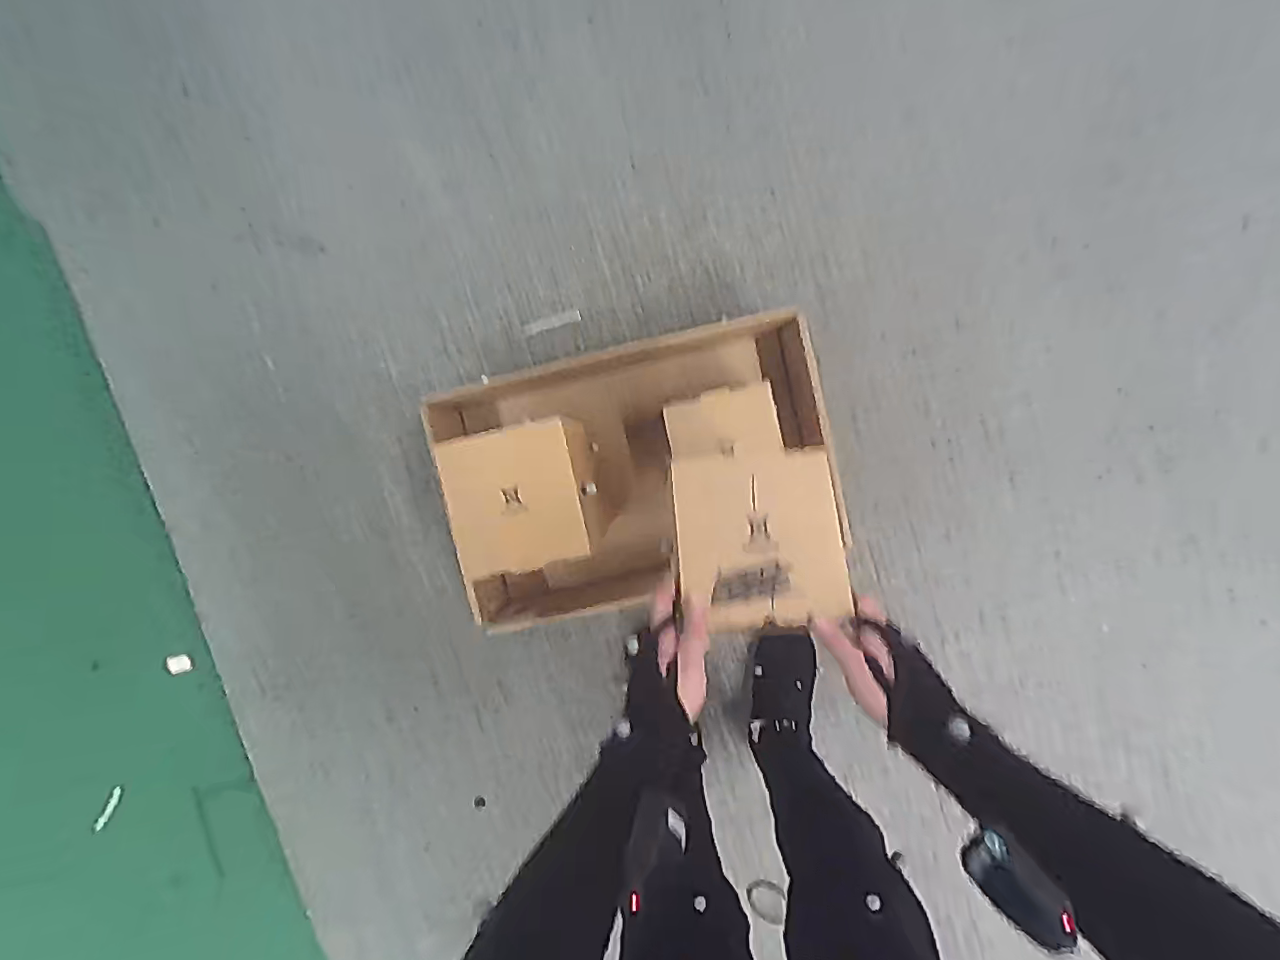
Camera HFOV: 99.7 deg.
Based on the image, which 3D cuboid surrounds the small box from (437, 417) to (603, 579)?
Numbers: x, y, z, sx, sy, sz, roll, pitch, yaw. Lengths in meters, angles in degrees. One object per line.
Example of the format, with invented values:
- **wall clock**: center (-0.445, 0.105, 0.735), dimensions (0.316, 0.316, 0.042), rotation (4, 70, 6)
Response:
- **small box**: center (-0.152, 0.020, 0.743), dimensions (0.168, 0.176, 0.179), rotation (-12, 93, 3)

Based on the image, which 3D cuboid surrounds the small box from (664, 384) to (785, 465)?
- **small box**: center (0.134, -0.047, 0.887), dimensions (0.168, 0.176, 0.179), rotation (-13, 94, 5)

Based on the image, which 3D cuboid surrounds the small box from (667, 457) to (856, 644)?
- **small box**: center (0.118, 0.088, 0.601), dimensions (0.168, 0.176, 0.179), rotation (-3, 70, -1)
